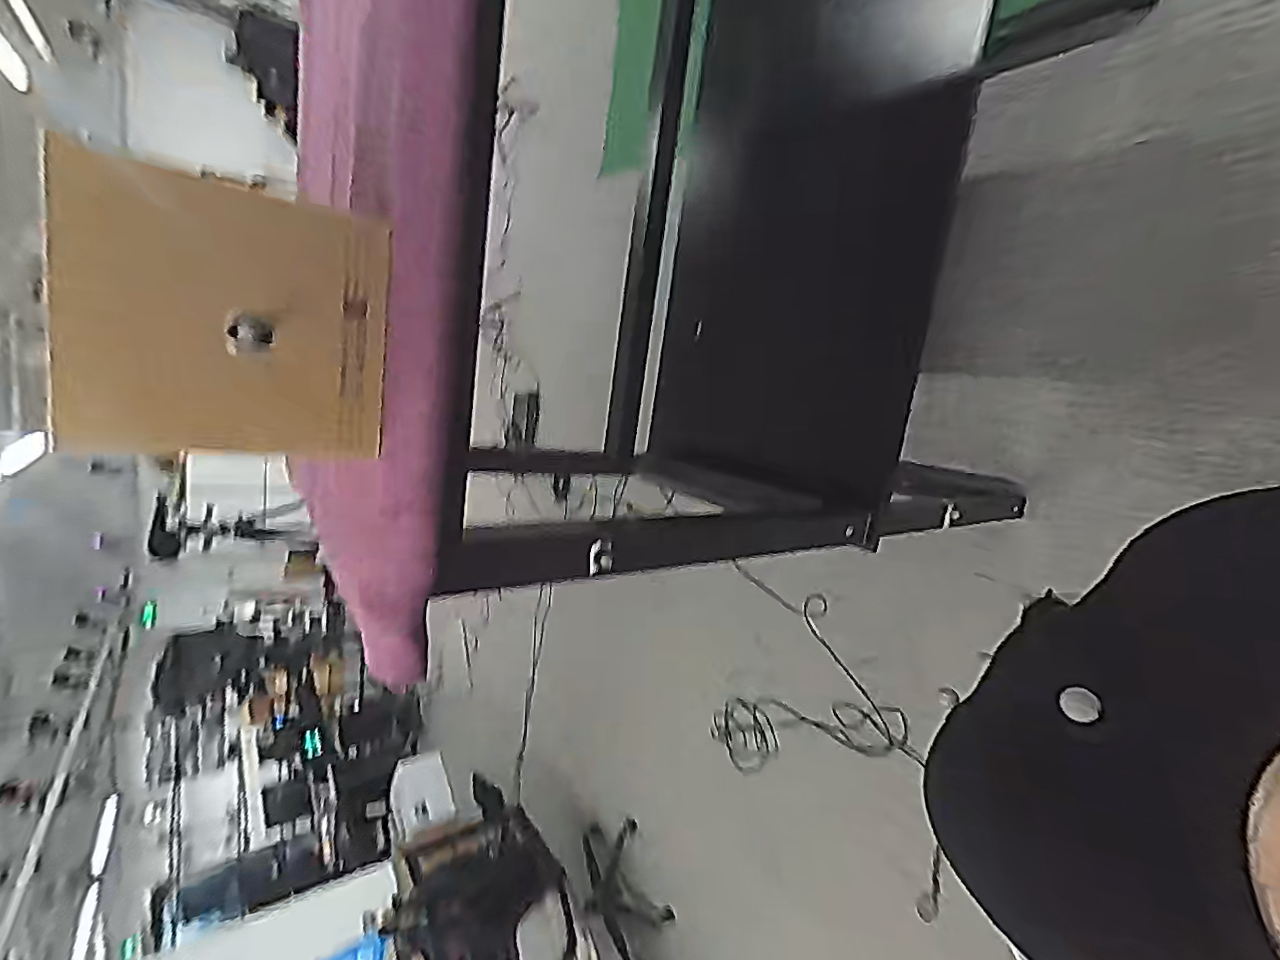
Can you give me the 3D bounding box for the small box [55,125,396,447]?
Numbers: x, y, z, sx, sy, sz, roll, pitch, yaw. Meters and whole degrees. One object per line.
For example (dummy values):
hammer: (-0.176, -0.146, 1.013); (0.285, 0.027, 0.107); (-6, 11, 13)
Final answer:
small box: (-0.292, -0.117, 0.399); (0.179, 0.176, 0.168); (15, 100, 50)
